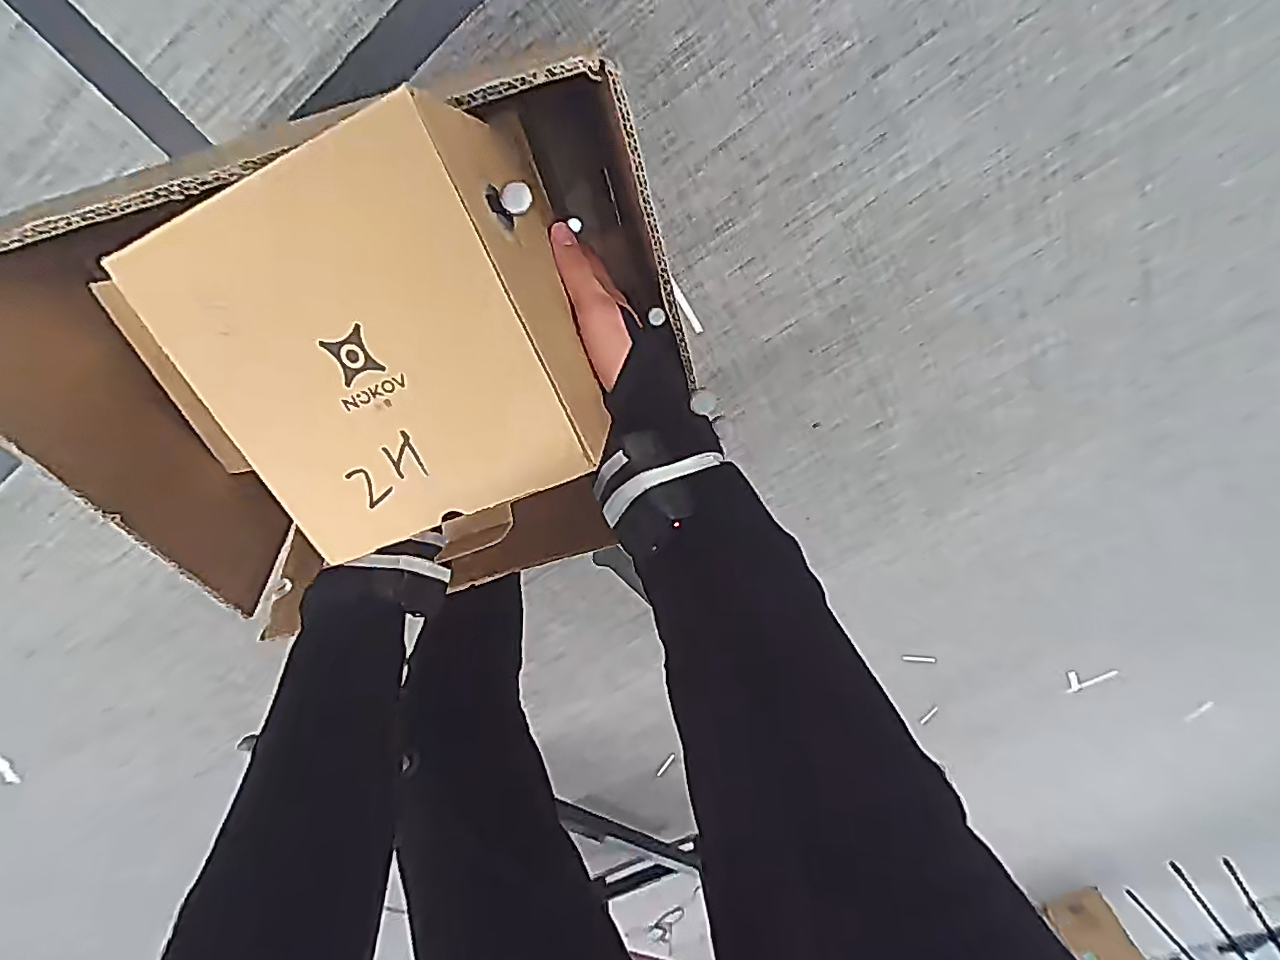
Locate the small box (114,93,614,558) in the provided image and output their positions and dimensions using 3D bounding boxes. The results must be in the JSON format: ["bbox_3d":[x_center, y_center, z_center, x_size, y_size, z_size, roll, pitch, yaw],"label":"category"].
[{"bbox_3d":[-0.127,-0.087,0.330,0.168,0.176,0.179,-19,113,13],"label":"small box"}]
